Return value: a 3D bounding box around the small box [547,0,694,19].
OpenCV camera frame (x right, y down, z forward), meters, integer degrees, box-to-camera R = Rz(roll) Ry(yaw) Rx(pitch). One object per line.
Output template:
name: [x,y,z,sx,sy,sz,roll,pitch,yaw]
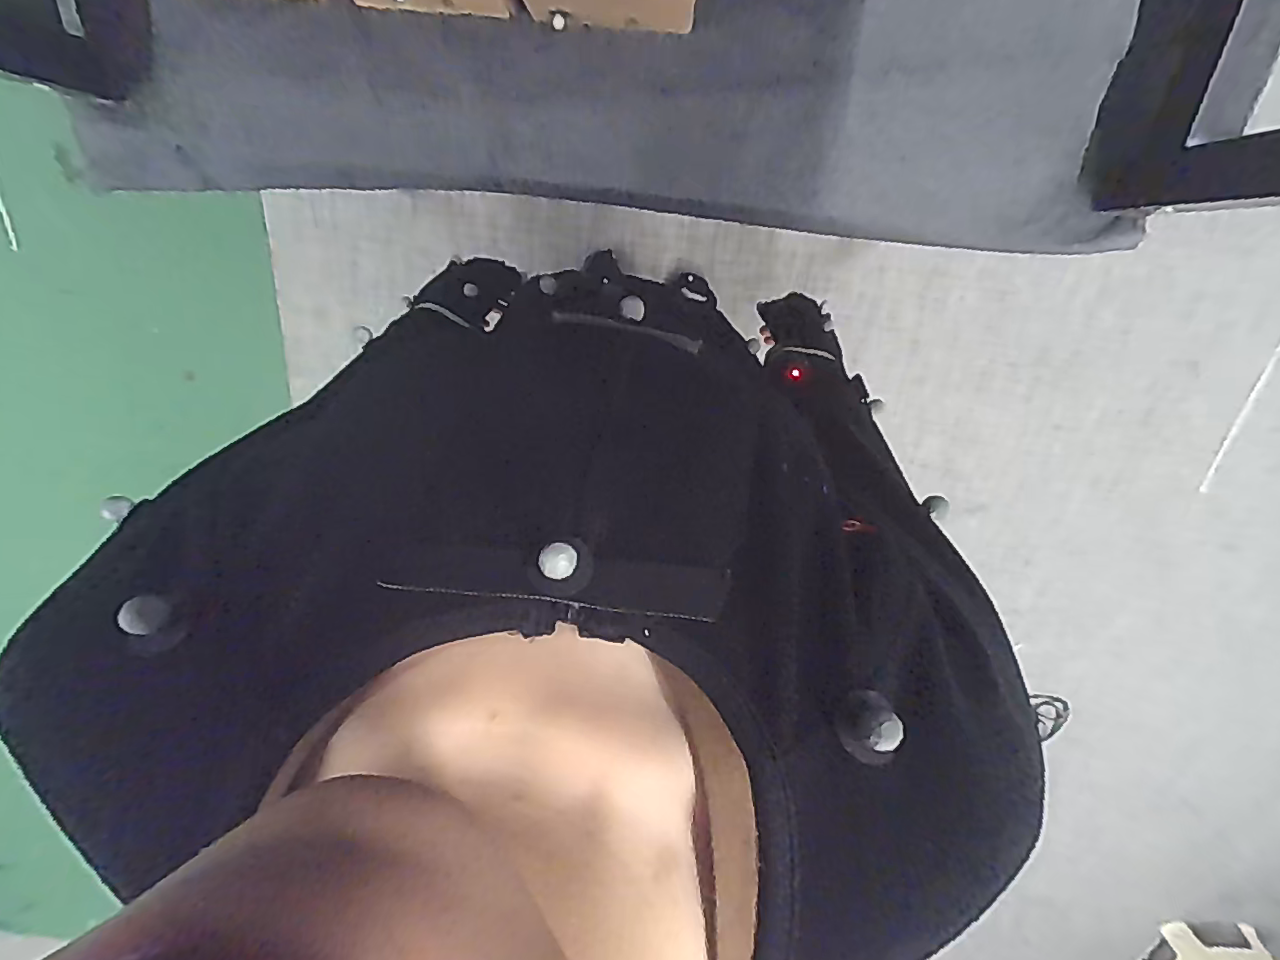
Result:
small box: [-0.026,-0.518,0.442,0.168,0.176,0.179,5,112,1]
